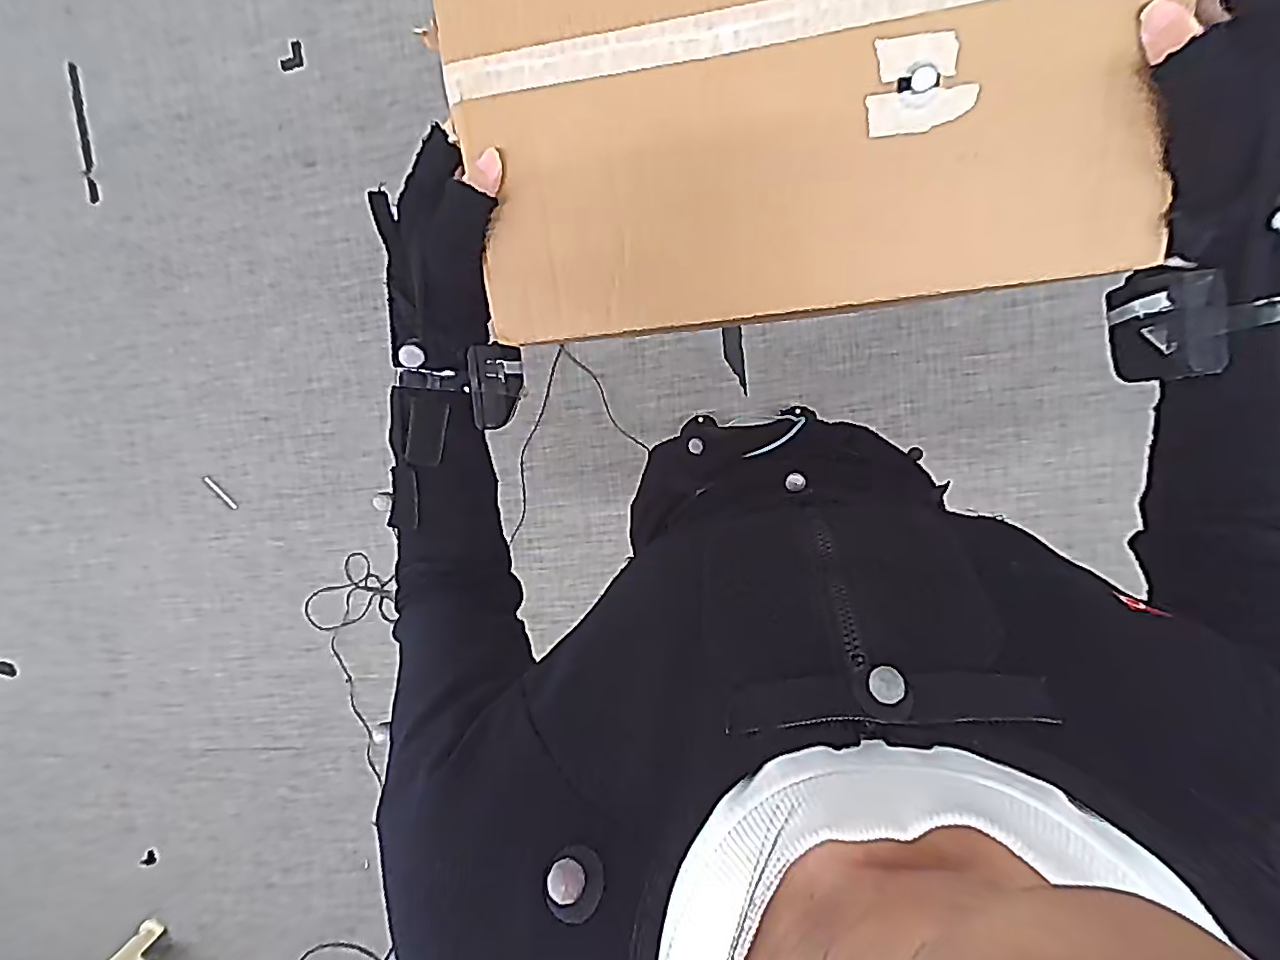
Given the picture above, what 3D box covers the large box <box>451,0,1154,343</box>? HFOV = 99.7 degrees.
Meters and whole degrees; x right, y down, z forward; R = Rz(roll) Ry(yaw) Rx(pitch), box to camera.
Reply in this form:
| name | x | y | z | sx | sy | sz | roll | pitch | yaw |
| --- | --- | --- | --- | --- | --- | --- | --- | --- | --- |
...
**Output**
| name | x | y | z | sx | sy | sz | roll | pitch | yaw |
| --- | --- | --- | --- | --- | --- | --- | --- | --- | --- |
| large box | 0.098 | -0.301 | 0.463 | 0.408 | 0.320 | 0.320 | -6 | 105 | 7 |
